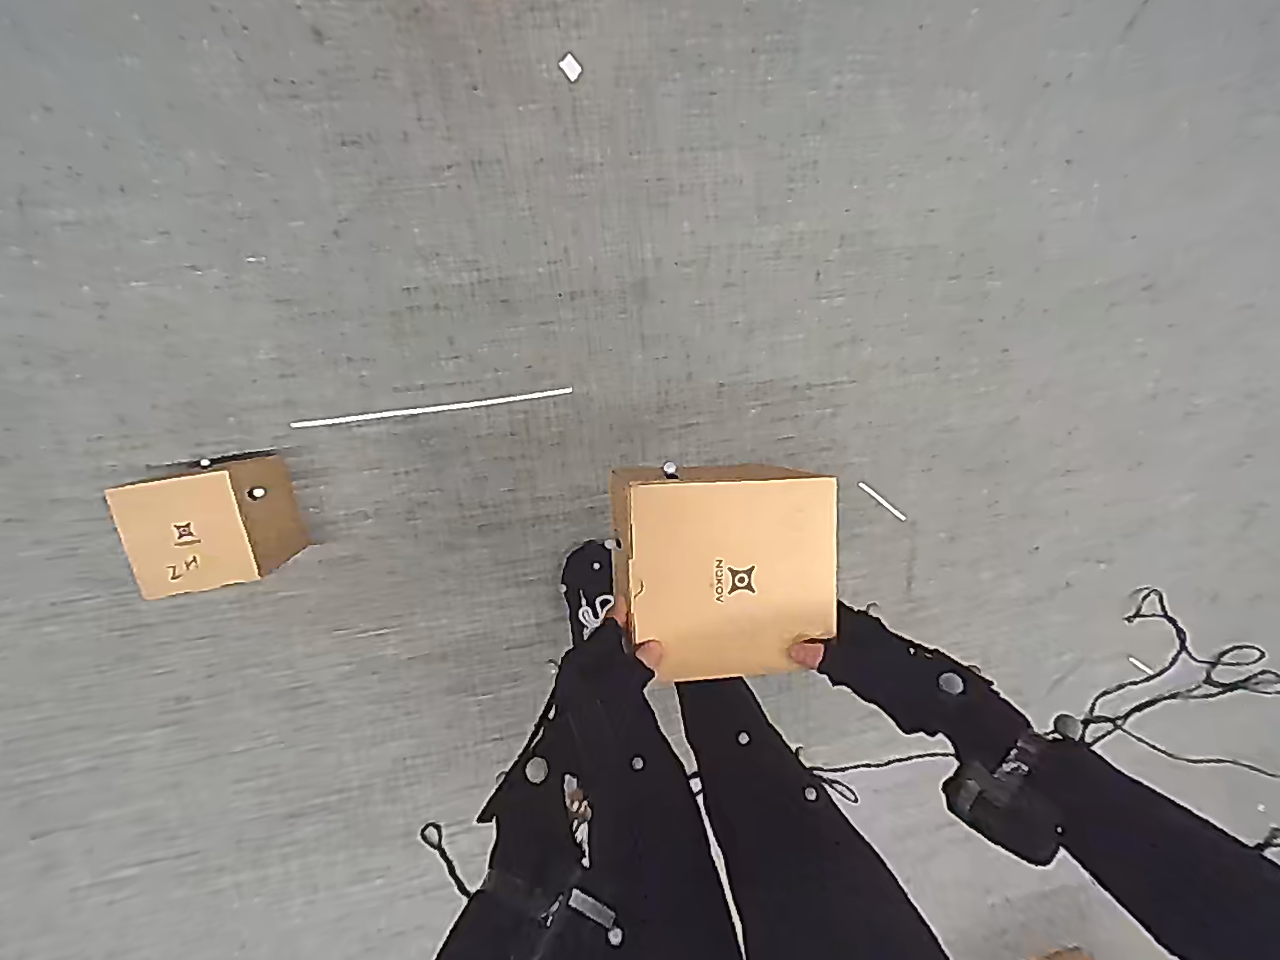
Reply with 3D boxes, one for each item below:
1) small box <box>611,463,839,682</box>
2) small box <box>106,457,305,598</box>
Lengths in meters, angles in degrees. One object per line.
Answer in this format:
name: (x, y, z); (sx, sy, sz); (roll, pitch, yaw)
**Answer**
small box: (0.067, 0.072, 0.518); (0.179, 0.176, 0.168); (-1, 96, -7)
small box: (-0.675, 0.063, 0.866); (0.168, 0.176, 0.179); (-10, 103, -7)
